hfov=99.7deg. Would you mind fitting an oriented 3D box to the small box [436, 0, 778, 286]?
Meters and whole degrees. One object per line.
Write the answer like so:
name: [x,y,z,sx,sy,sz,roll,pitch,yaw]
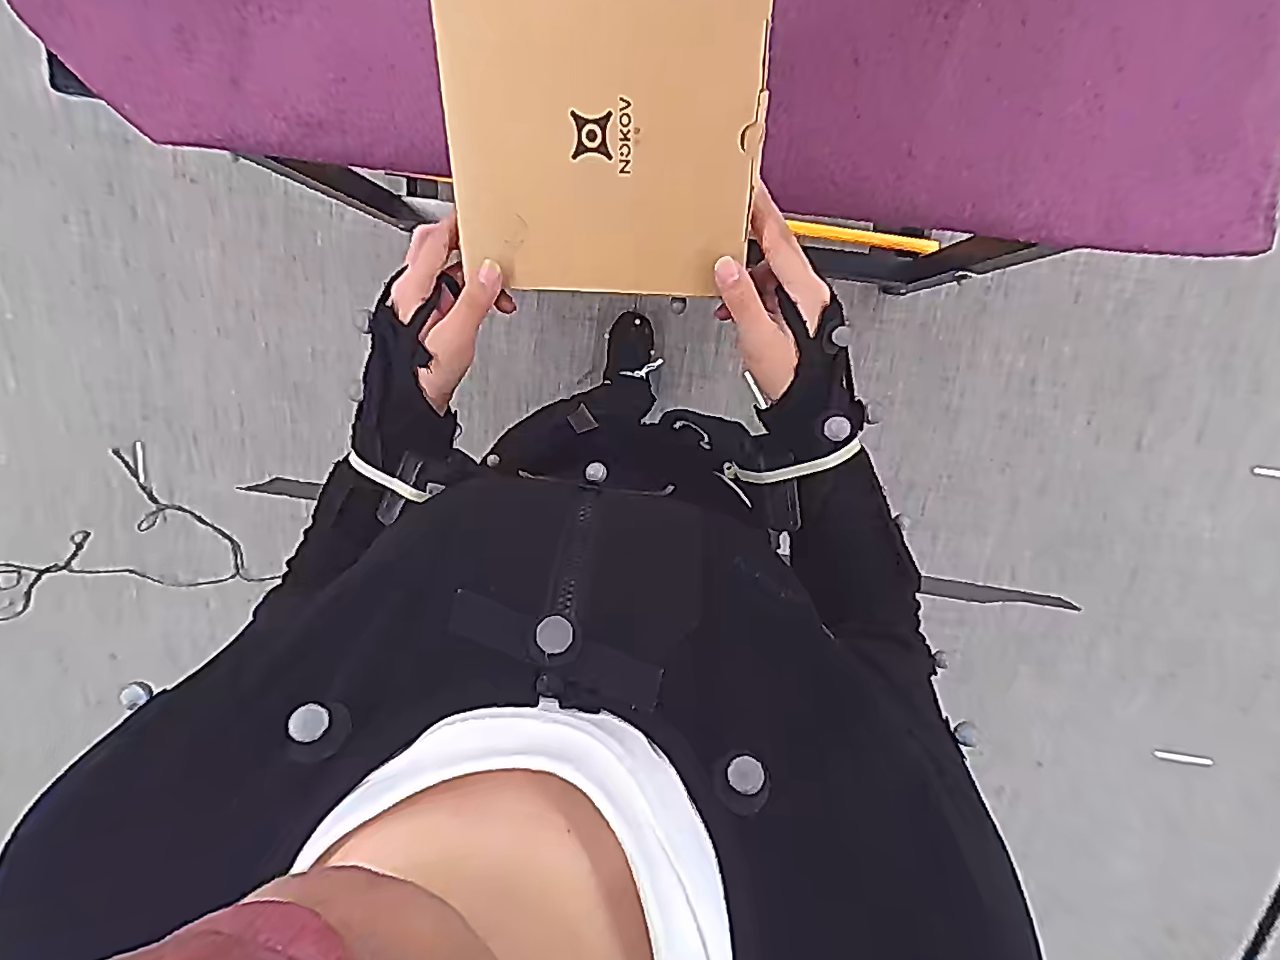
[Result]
small box: [-0.013,-0.229,0.364,0.179,0.176,0.168,3,117,3]
